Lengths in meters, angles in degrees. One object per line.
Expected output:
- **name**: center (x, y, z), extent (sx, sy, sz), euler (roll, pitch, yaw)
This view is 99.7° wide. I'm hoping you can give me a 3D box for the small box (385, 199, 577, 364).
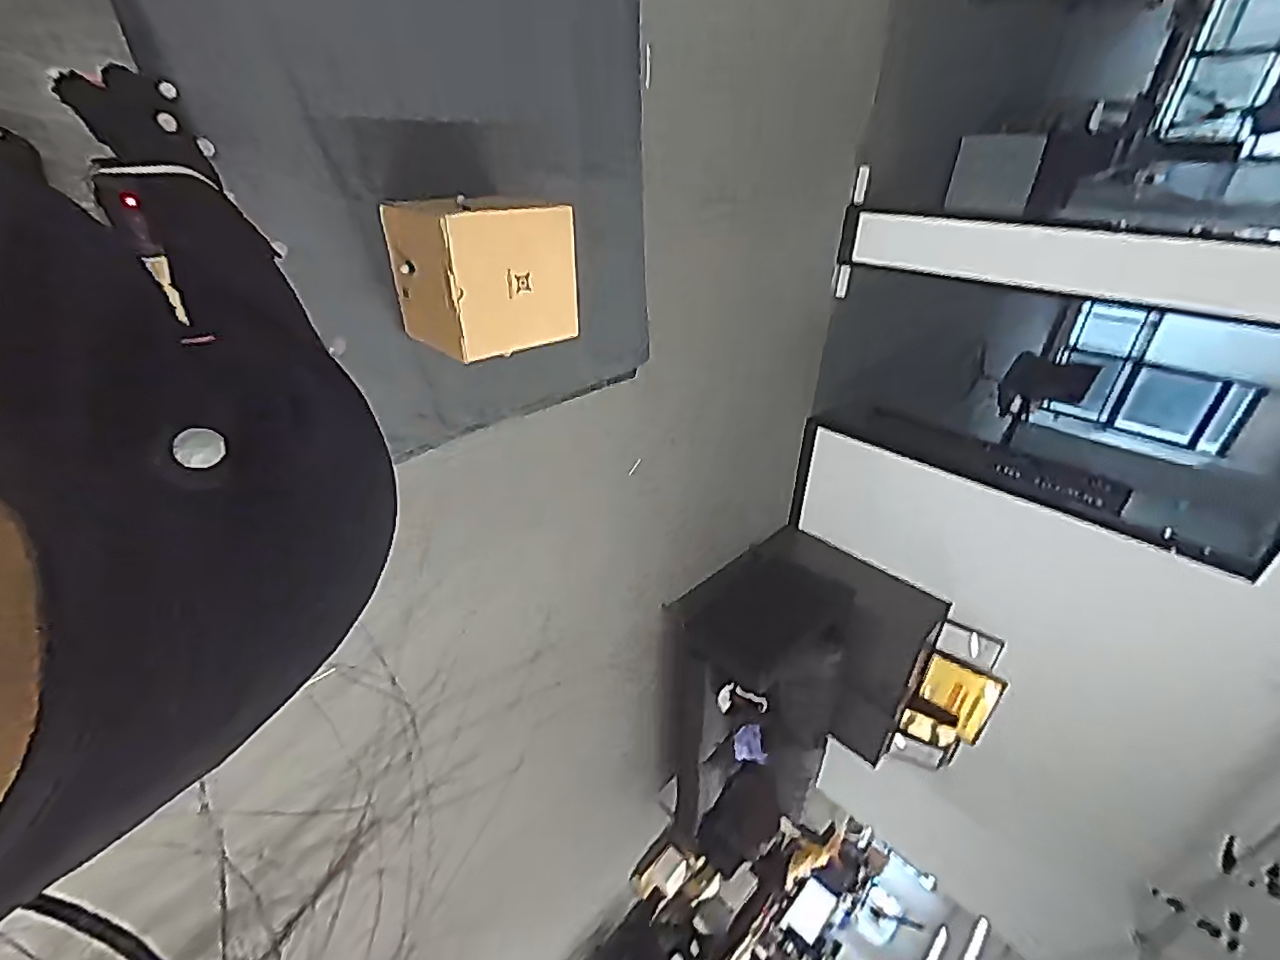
- **small box**: center (-0.204, -0.272, 0.716), extent (0.179, 0.176, 0.168), euler (-26, 131, -36)
